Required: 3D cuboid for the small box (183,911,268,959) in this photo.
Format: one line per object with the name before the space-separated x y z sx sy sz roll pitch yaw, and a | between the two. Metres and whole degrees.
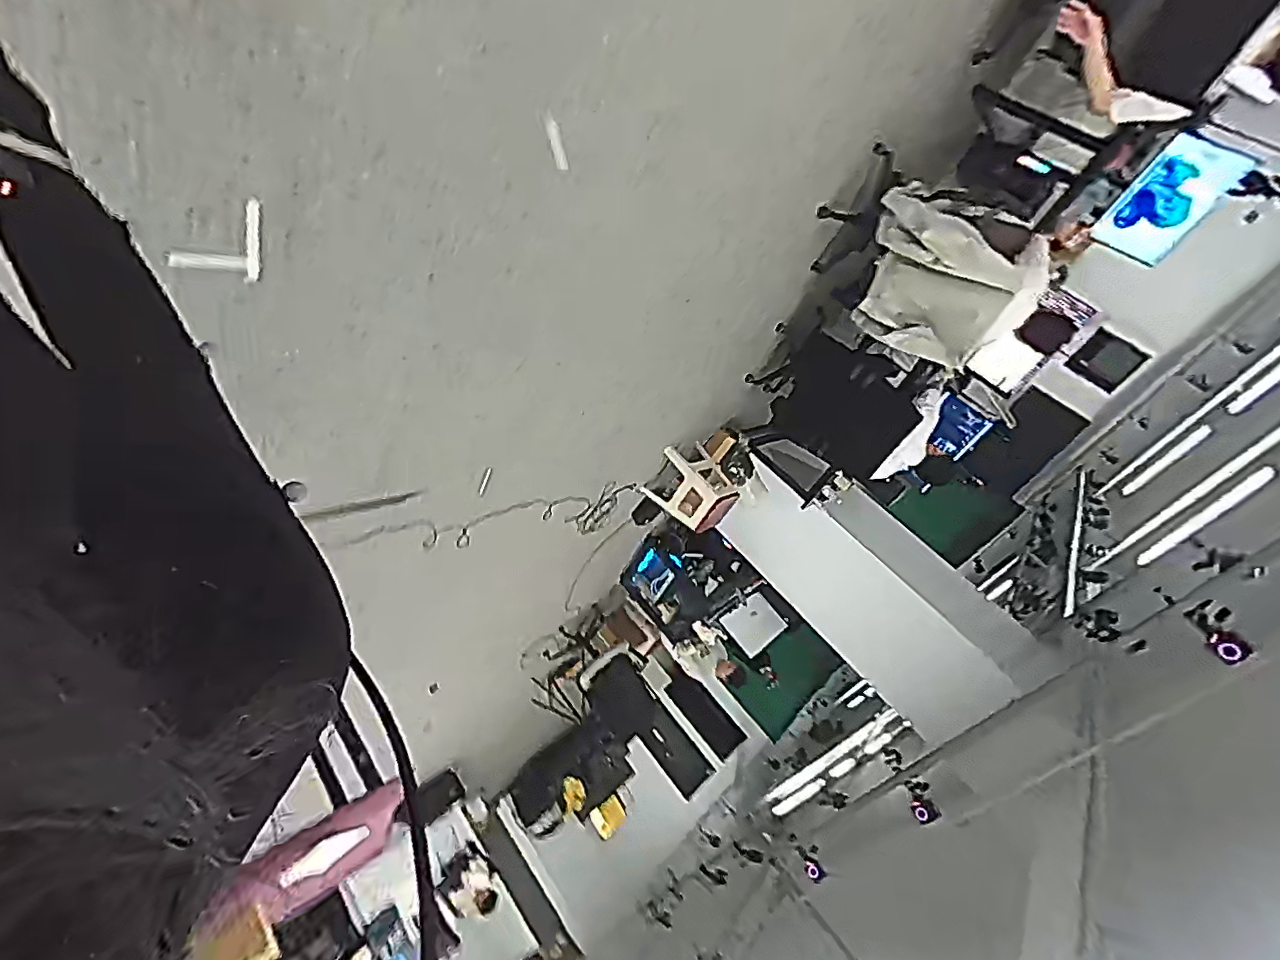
small box | -1.304 1.517 1.703 0.179 0.176 0.168 -24 150 -39
